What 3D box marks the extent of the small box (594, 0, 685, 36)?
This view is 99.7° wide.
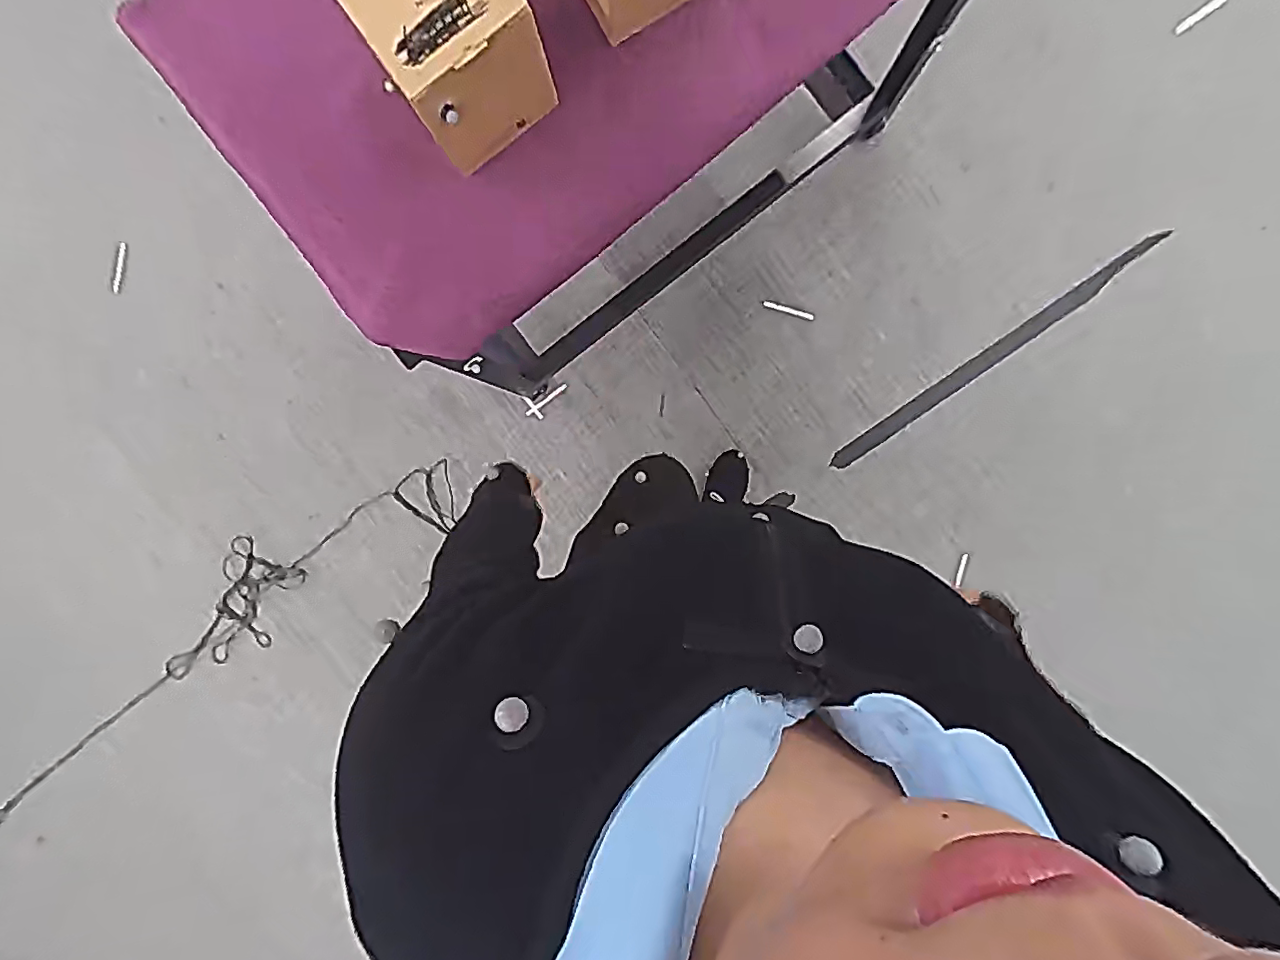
[{"bbox_3d":[-0.002,-0.696,0.643,0.179,0.176,0.168,-29,92,3],"label":"small box"}]
